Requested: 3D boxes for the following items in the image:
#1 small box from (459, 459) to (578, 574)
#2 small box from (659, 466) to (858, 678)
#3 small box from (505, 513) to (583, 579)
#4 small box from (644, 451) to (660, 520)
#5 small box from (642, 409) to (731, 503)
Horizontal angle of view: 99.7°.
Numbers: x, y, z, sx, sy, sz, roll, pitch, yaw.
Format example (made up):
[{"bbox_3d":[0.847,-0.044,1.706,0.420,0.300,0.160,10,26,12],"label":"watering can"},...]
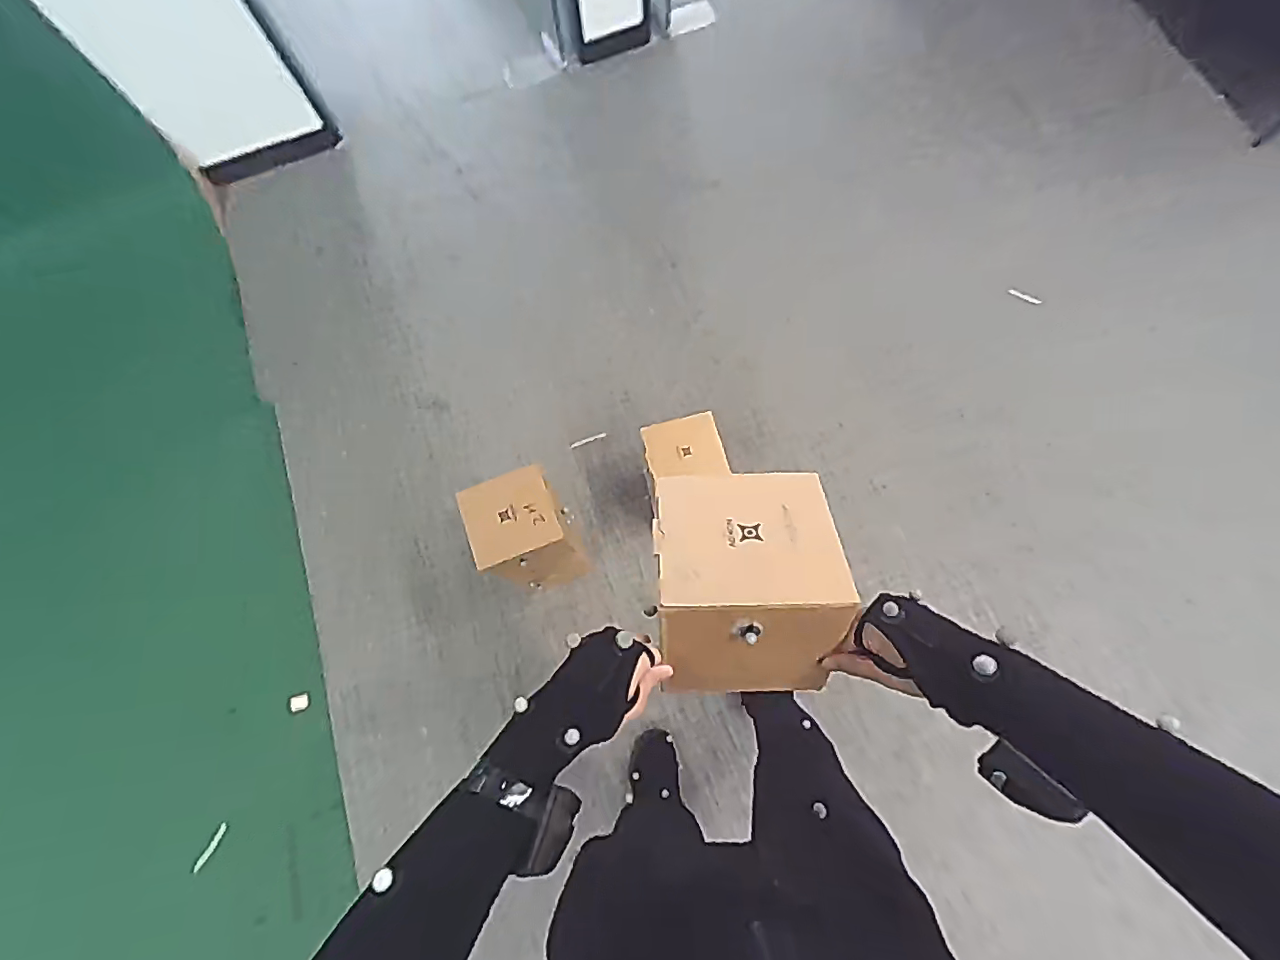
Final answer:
[{"bbox_3d":[-0.244,0.084,1.117,0.179,0.176,0.168,-21,74,-4],"label":"small box"},{"bbox_3d":[0.111,0.102,0.587,0.179,0.176,0.168,-1,44,2],"label":"small box"},{"bbox_3d":[-0.246,0.124,1.278,0.168,0.176,0.179,-22,72,-4],"label":"small box"},{"bbox_3d":[0.110,0.009,1.466,0.168,0.176,0.179,-13,74,-2],"label":"small box"},{"bbox_3d":[0.109,-0.048,1.313,0.179,0.176,0.168,-15,73,-1],"label":"small box"}]
